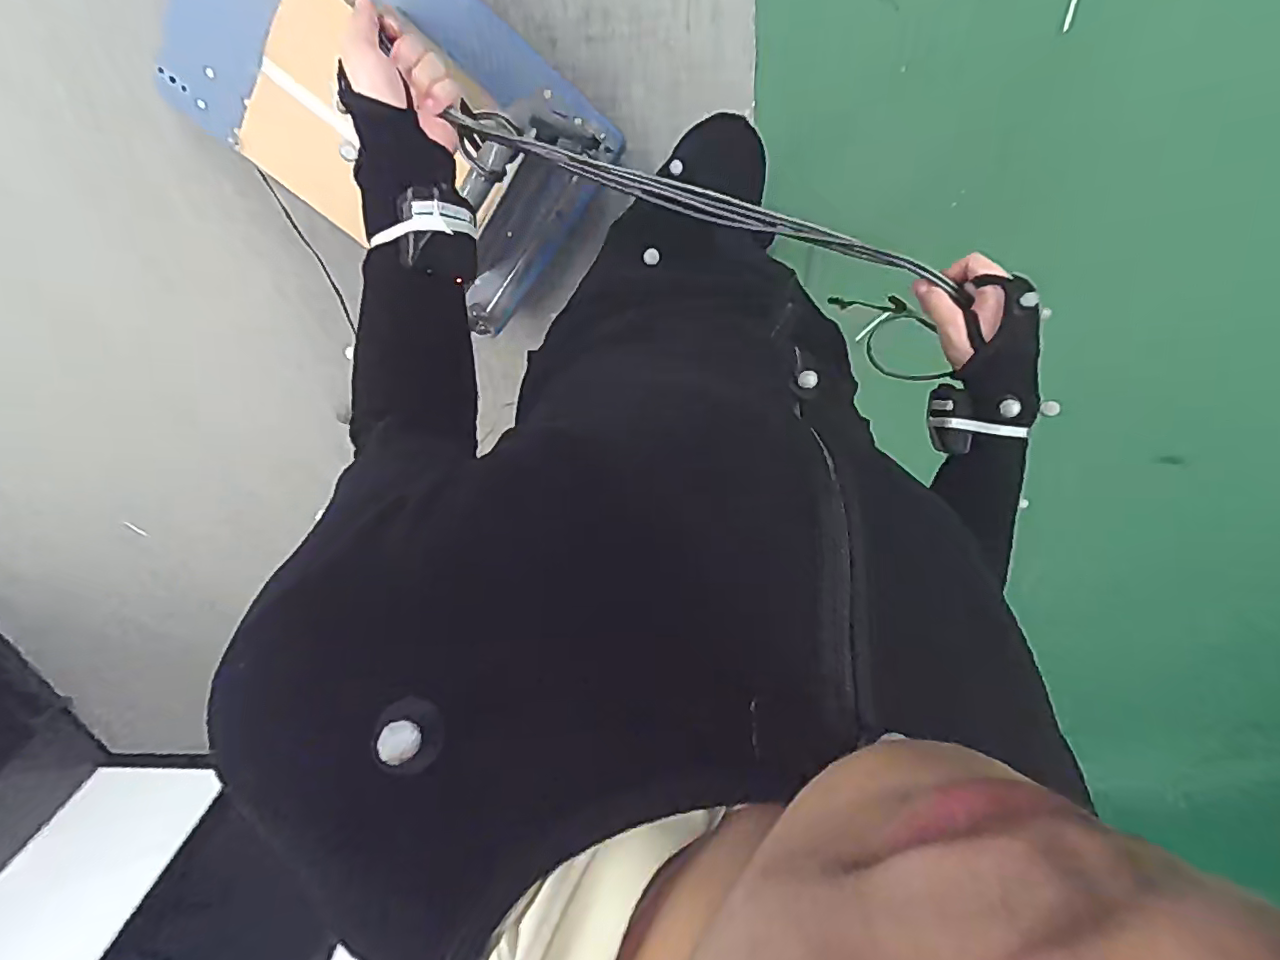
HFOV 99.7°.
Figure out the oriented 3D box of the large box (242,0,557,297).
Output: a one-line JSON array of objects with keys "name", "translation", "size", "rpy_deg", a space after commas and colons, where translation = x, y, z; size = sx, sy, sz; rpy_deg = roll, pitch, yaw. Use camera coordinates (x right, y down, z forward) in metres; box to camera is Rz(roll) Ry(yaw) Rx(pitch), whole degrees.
[{"name": "large box", "translation": [-0.434, -0.633, 1.053], "size": [0.408, 0.320, 0.320], "rpy_deg": [37, 116, -15]}]
